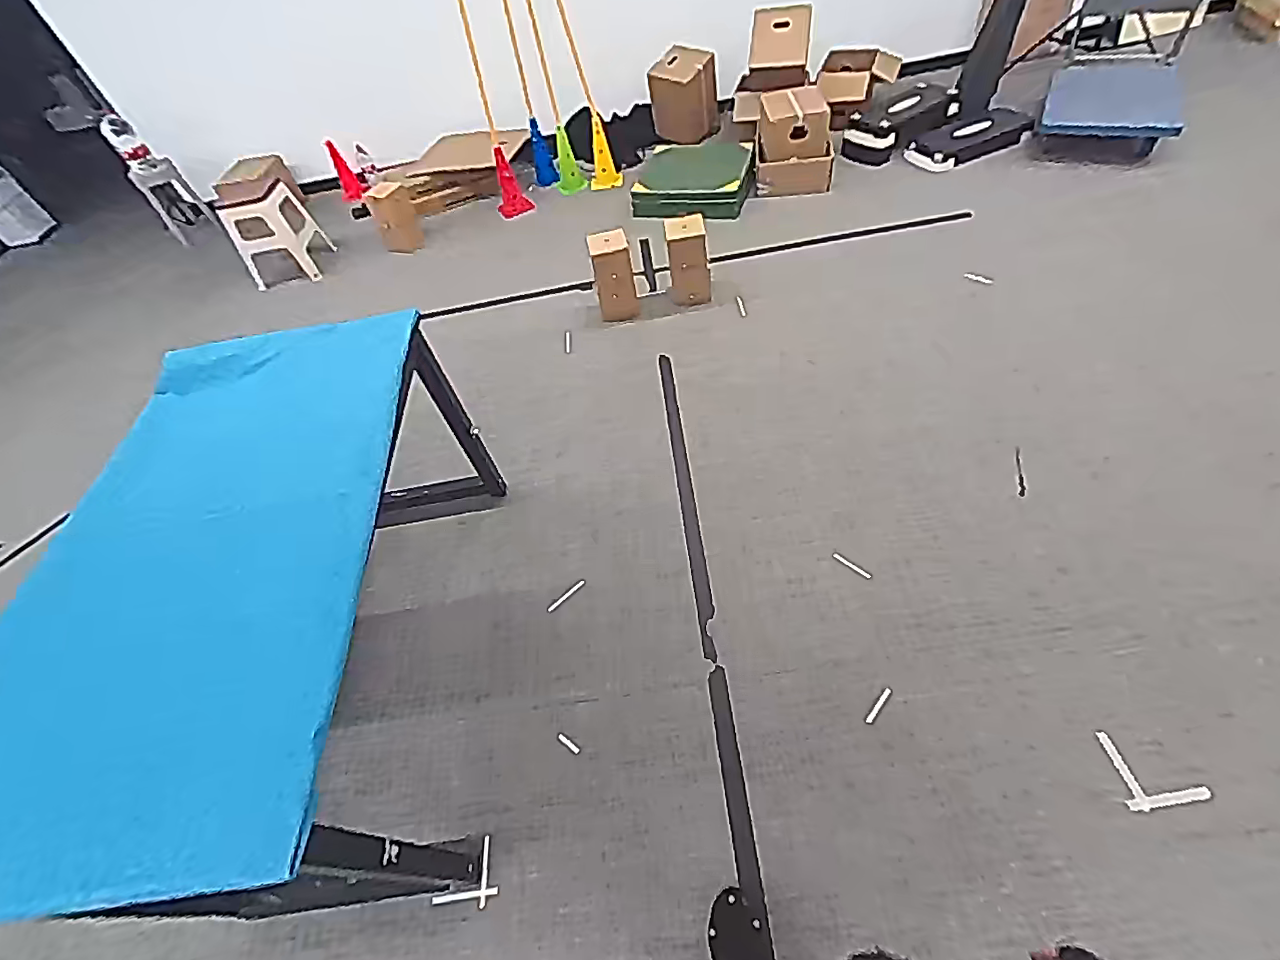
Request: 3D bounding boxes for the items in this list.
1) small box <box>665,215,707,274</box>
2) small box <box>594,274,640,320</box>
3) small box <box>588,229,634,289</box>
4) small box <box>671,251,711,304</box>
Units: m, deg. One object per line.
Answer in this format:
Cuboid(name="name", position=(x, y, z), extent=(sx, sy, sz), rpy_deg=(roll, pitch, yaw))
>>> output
Cuboid(name="small box", position=(0.202, -1.032, 2.374), extent=(0.168, 0.176, 0.179), rpy_deg=(-7, 52, 6))
Cuboid(name="small box", position=(-0.105, -0.866, 2.504), extent=(0.179, 0.176, 0.168), rpy_deg=(-11, 51, 1))
Cuboid(name="small box", position=(-0.127, -0.971, 2.379), extent=(0.168, 0.176, 0.179), rpy_deg=(-13, 51, 1))
Cuboid(name="small box", position=(0.232, -0.937, 2.503), extent=(0.179, 0.176, 0.168), rpy_deg=(-5, 51, 4))
